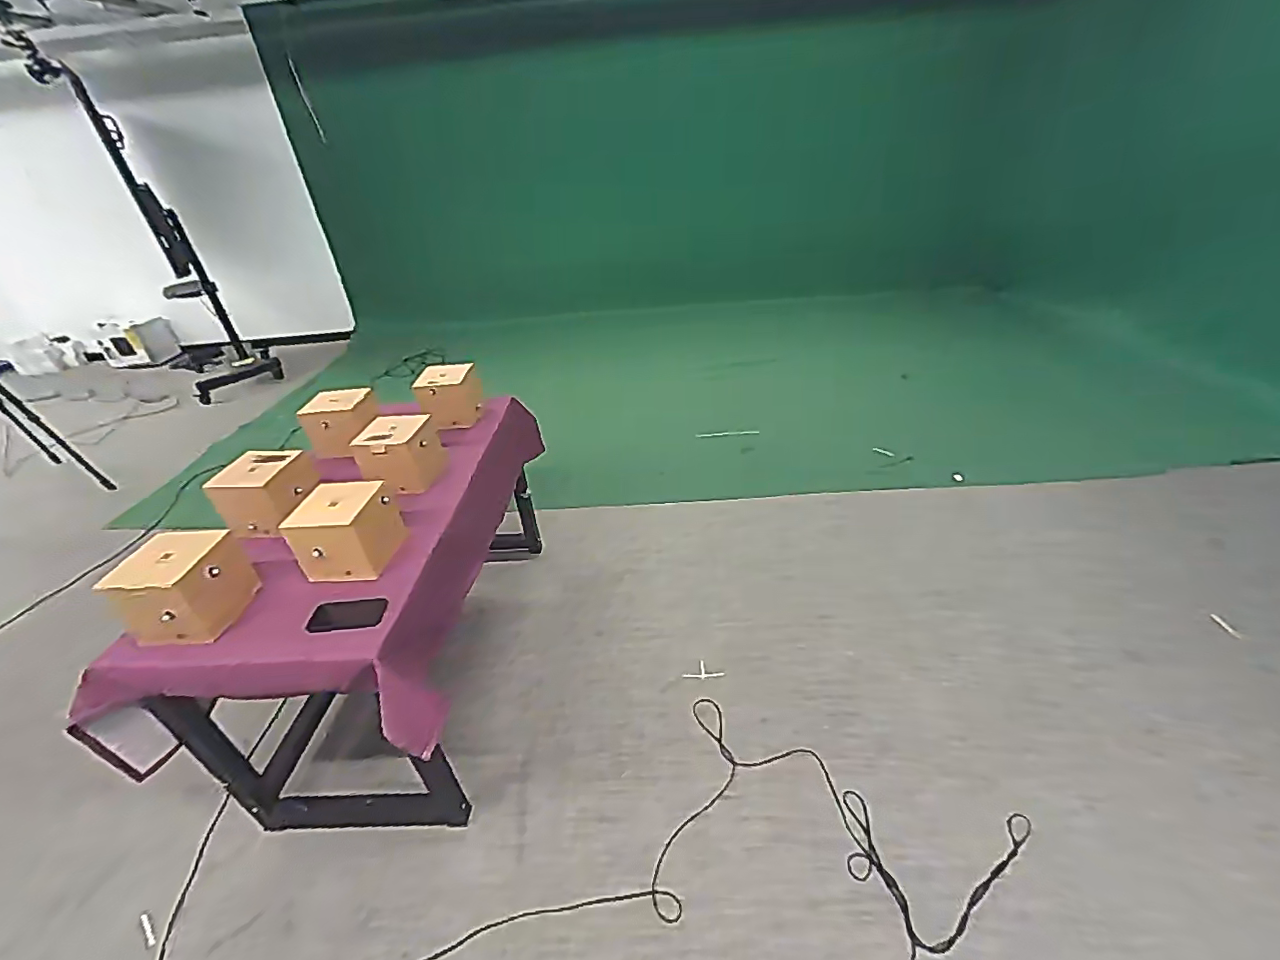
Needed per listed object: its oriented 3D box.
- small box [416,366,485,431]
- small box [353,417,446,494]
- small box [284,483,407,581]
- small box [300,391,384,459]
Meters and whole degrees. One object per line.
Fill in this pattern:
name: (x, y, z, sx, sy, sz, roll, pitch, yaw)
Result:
small box: (-0.655, -0.285, 1.894, 0.168, 0.176, 0.179, -4, 33, 3)
small box: (-0.686, -0.068, 1.571, 0.168, 0.176, 0.179, -2, 33, 7)
small box: (-0.680, 0.126, 1.276, 0.168, 0.176, 0.179, -3, 32, 5)
small box: (-0.964, -0.179, 1.781, 0.179, 0.176, 0.168, -4, 34, 2)
